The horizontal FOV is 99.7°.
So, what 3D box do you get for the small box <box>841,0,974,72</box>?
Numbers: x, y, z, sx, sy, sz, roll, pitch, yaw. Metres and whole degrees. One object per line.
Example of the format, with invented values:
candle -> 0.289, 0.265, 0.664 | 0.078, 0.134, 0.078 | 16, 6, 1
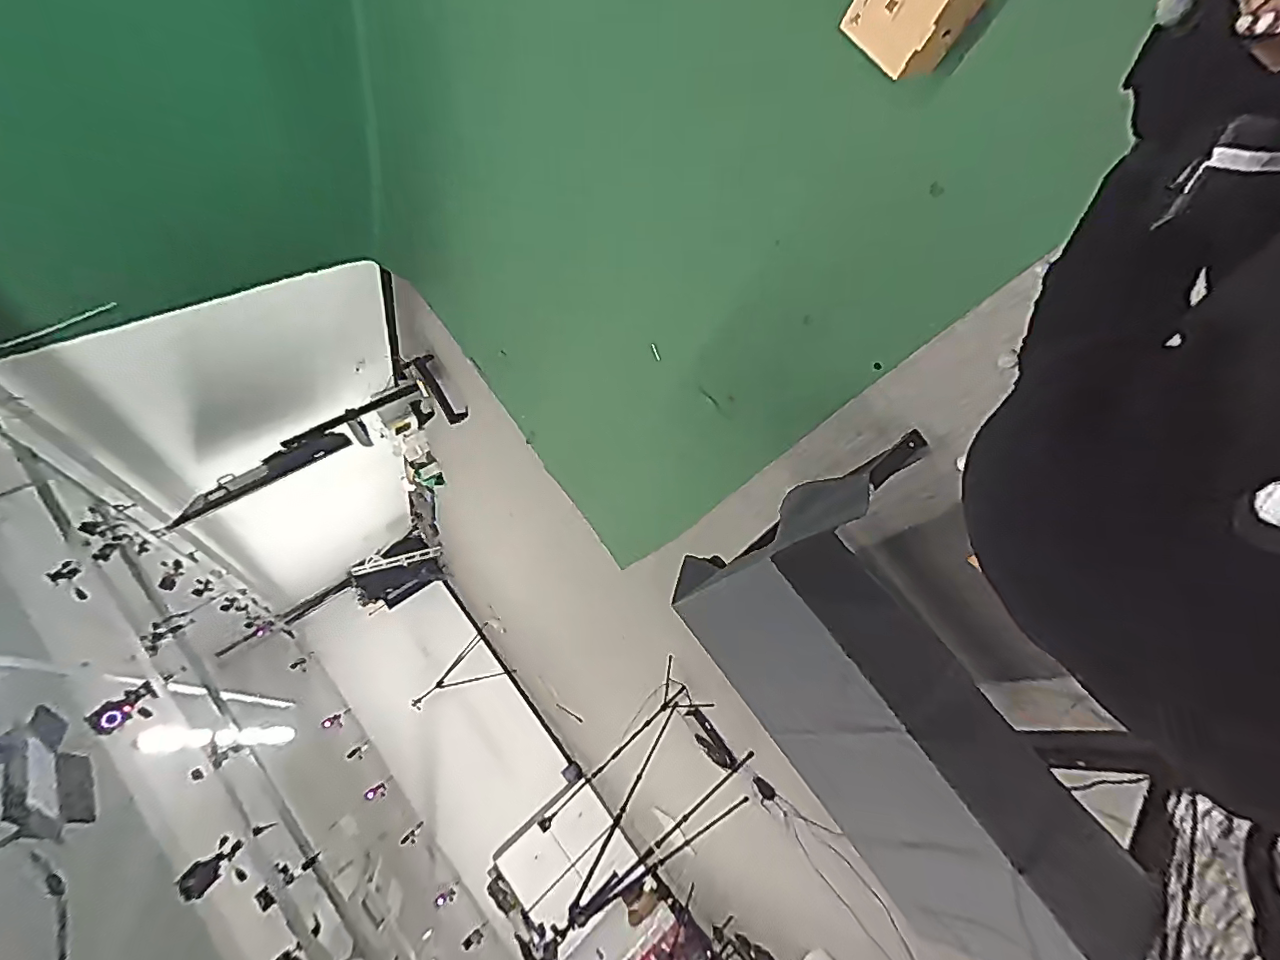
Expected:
small box -> 0.554, -0.972, 1.083 | 0.179, 0.176, 0.168 | 50, 151, 7
